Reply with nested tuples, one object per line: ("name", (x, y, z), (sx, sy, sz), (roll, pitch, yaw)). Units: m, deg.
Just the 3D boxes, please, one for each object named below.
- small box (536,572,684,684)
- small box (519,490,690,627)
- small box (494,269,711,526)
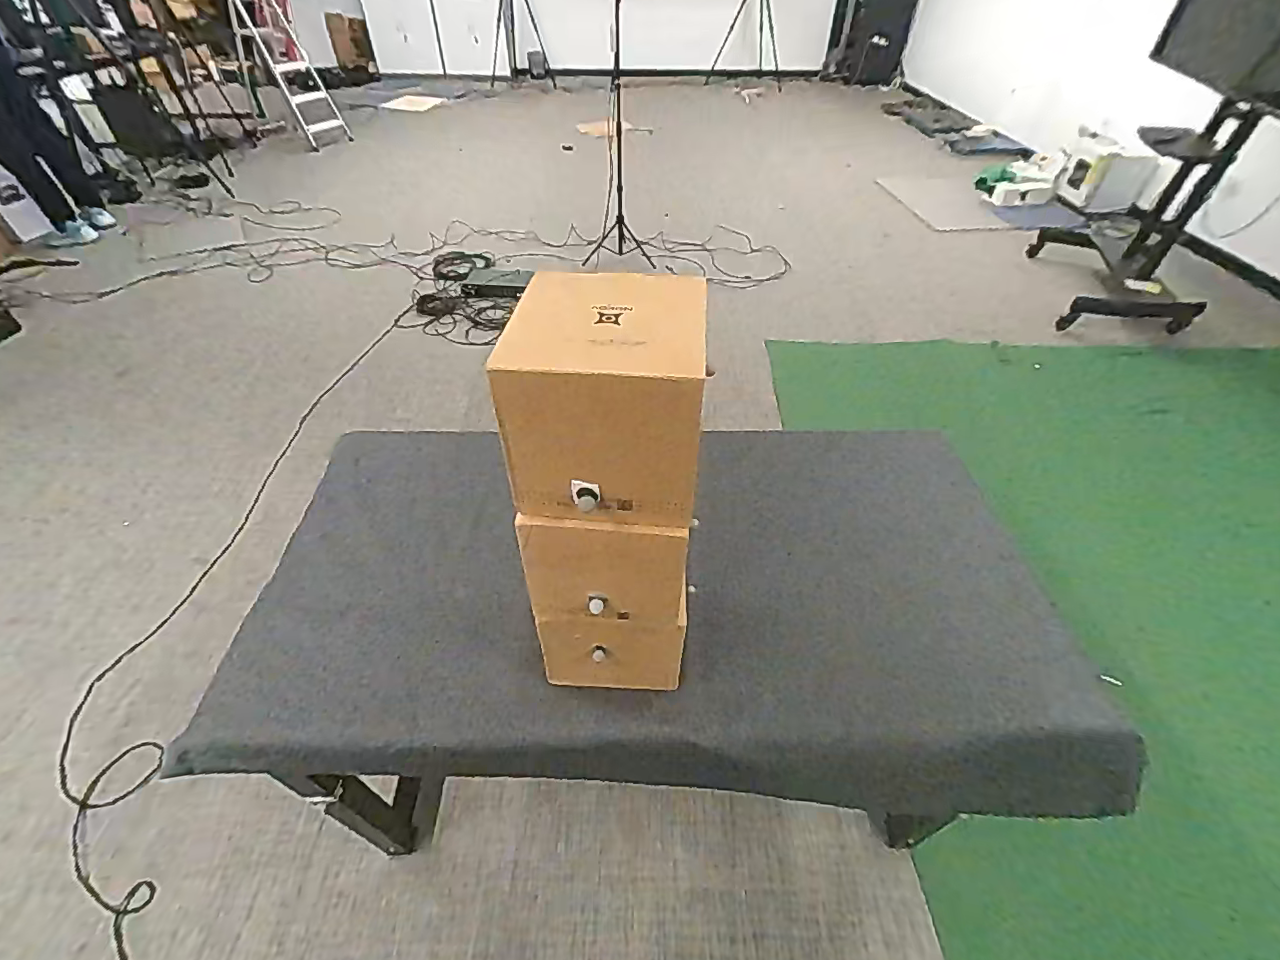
("small box", (-0.031, 0.161, 0.734), (0.179, 0.176, 0.168), (3, 45, 2))
("small box", (-0.029, 0.042, 0.621), (0.168, 0.176, 0.179), (5, 45, 4))
("small box", (-0.023, -0.079, 0.514), (0.168, 0.176, 0.179), (4, 45, 4))
